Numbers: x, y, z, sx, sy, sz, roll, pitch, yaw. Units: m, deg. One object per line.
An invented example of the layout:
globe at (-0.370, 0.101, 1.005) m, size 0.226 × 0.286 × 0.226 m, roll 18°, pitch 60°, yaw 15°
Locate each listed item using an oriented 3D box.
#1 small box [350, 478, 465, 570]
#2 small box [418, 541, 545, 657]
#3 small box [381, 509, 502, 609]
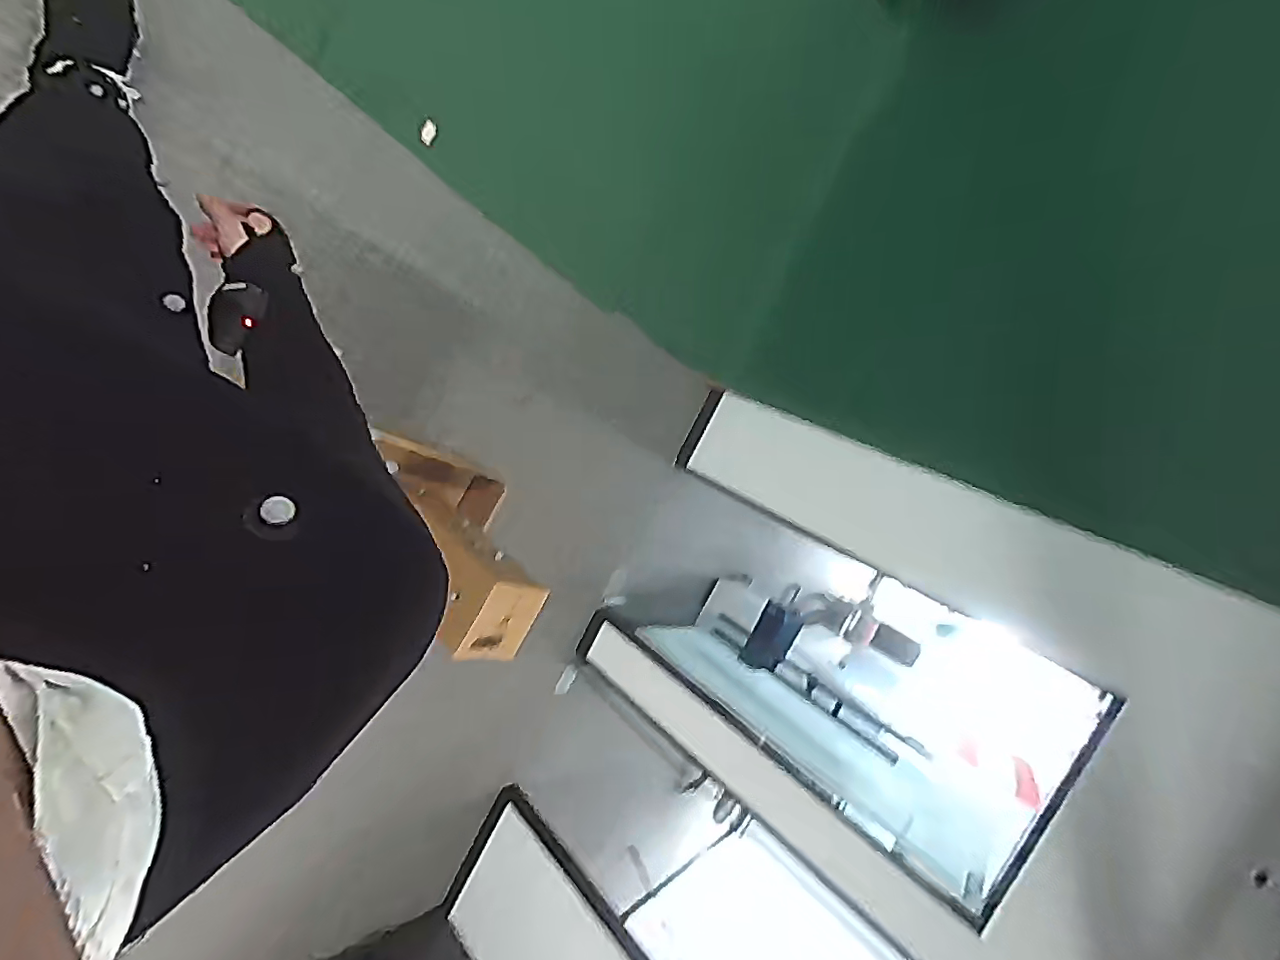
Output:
small box at (-0.582, 0.119, 1.346) m, size 0.179 × 0.176 × 0.168 m, roll -59°, pitch 145°, yaw -1°
small box at (-0.346, 0.258, 1.164) m, size 0.168 × 0.176 × 0.179 m, roll 30°, pitch 90°, yaw -55°
small box at (-0.464, 0.189, 1.257) m, size 0.168 × 0.176 × 0.179 m, roll 31°, pitch 89°, yaw -55°
